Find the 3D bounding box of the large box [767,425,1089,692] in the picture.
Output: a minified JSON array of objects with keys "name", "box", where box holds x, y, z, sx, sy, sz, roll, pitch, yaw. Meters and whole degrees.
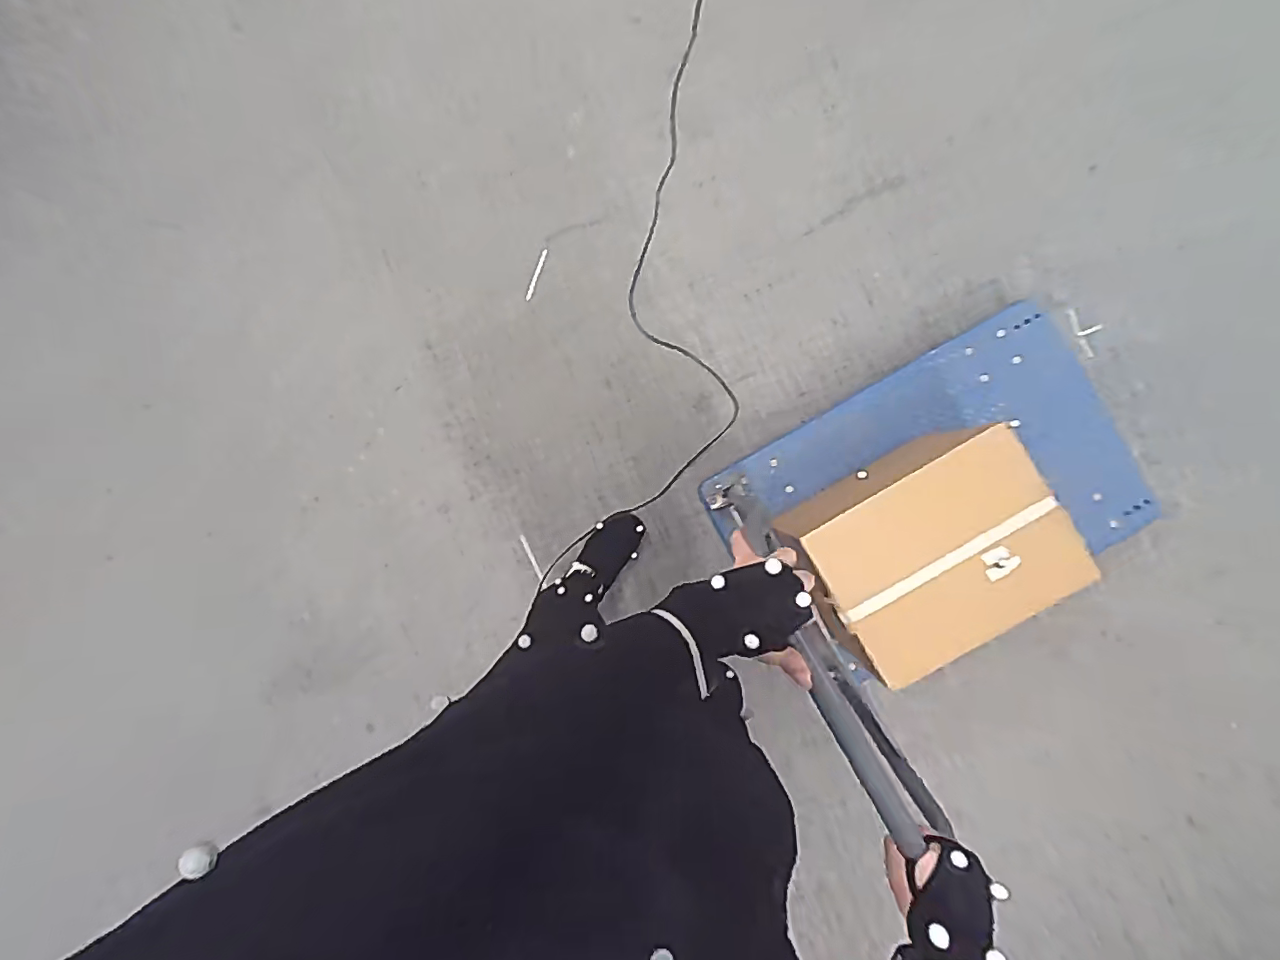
[{"name":"large box","box":[0.525,0.140,1.077,0.408,0.320,0.320,-31,89,2]}]
